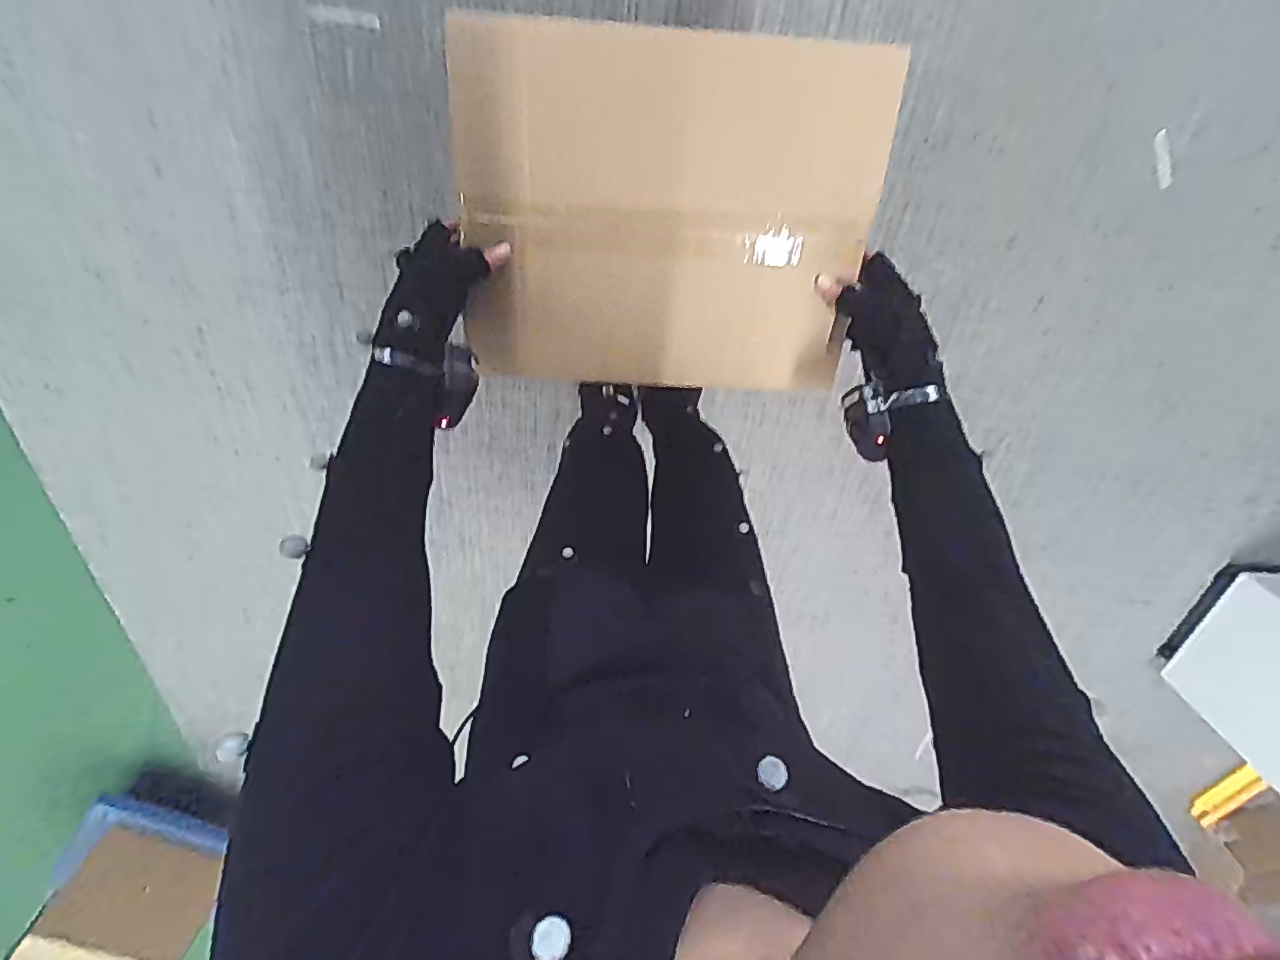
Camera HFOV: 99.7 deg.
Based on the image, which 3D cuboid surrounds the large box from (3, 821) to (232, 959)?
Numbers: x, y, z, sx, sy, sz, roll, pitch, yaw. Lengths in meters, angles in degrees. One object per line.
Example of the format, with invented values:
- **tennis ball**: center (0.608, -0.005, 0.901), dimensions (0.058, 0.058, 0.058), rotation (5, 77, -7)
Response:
- **large box**: center (-1.672, 1.385, 1.753), dimensions (0.408, 0.320, 0.320), rotation (37, 115, -21)
